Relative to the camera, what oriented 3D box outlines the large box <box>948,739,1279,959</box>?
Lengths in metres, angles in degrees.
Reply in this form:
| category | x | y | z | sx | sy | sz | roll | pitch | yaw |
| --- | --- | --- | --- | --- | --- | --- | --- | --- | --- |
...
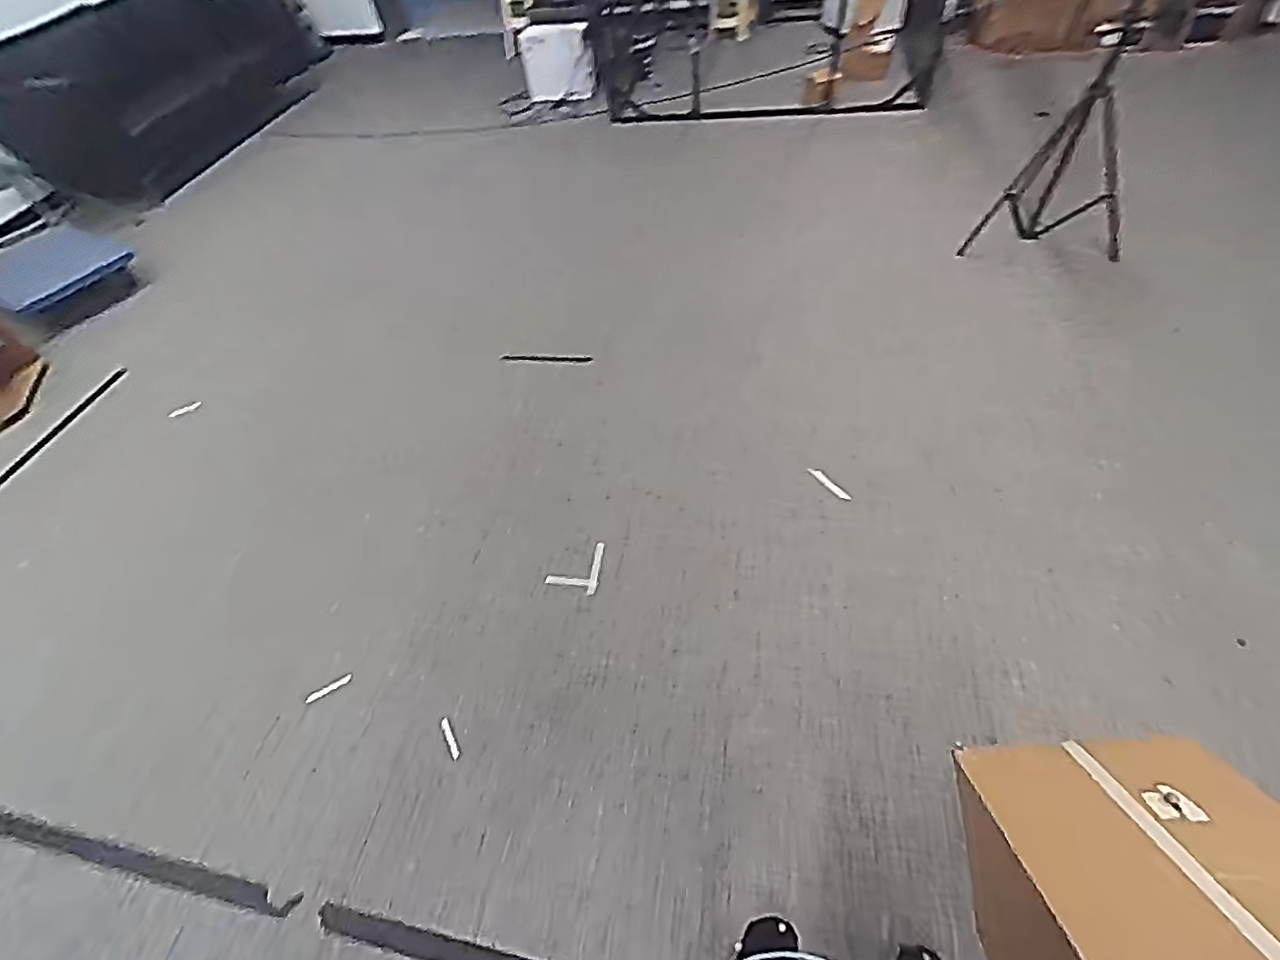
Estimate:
| category | x | y | z | sx | sy | sz | roll | pitch | yaw |
| --- | --- | --- | --- | --- | --- | --- | --- | --- | --- |
| large box | 0.621 | 0.570 | 0.627 | 0.320 | 0.408 | 0.320 | -9 | 95 | 10 |
